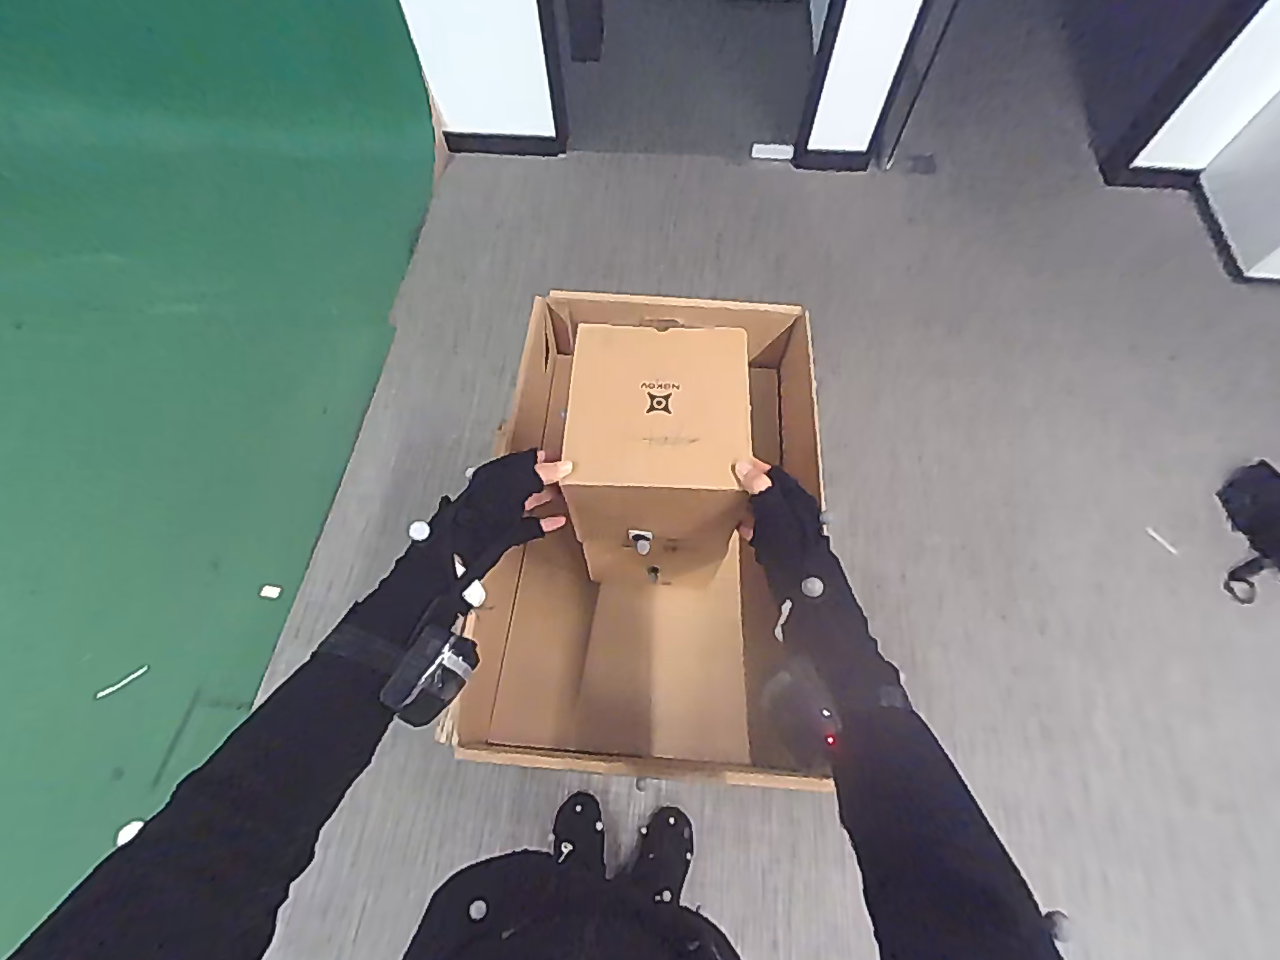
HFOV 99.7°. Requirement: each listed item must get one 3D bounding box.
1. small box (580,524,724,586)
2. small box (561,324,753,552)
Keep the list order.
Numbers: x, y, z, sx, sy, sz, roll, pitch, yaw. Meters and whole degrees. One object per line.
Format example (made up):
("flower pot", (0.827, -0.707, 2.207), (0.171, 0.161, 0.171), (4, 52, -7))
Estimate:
("small box", (0.019, 0.033, 0.707), (0.168, 0.176, 0.179), (4, 64, 0))
("small box", (0.019, -0.037, 0.562), (0.168, 0.176, 0.179), (2, 65, 2))
